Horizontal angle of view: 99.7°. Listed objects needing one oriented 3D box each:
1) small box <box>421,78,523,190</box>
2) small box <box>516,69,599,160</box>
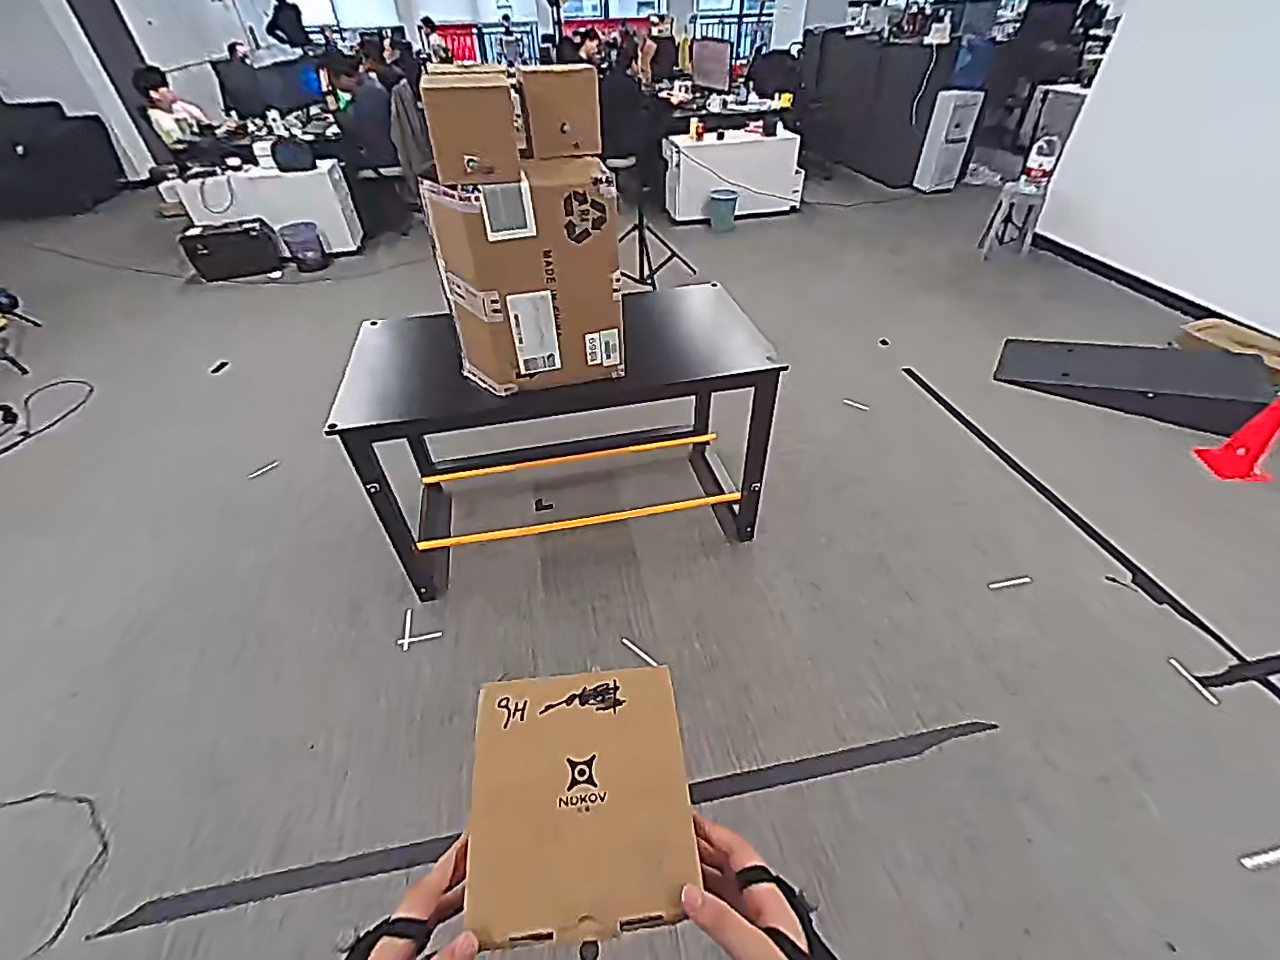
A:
[{"bbox_3d":[-0.342,-0.711,1.111,0.168,0.176,0.179,-11,45,-12],"label":"small box"},{"bbox_3d":[-0.197,-0.878,1.298,0.168,0.176,0.179,-11,41,-11],"label":"small box"}]
